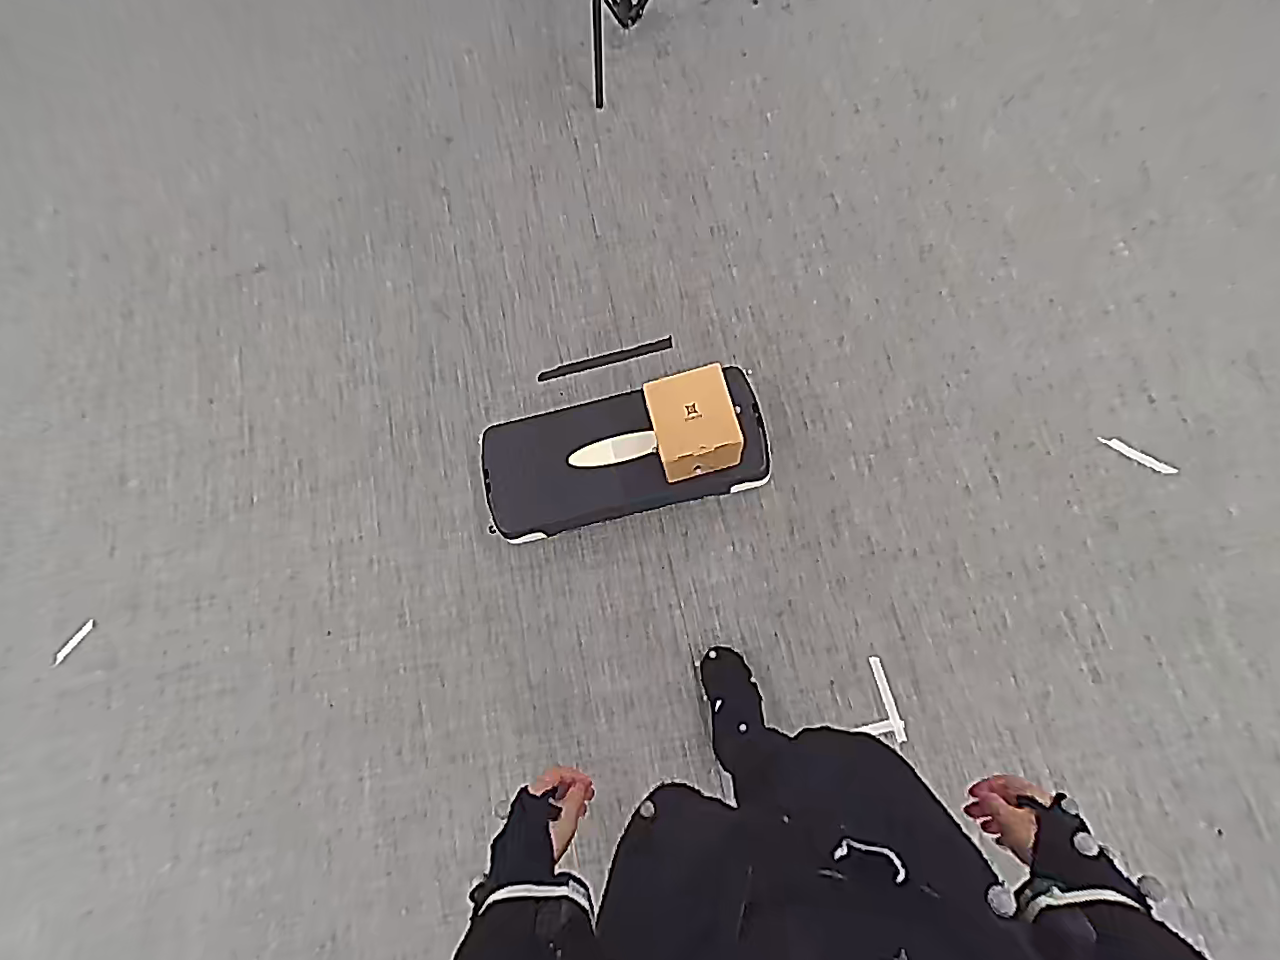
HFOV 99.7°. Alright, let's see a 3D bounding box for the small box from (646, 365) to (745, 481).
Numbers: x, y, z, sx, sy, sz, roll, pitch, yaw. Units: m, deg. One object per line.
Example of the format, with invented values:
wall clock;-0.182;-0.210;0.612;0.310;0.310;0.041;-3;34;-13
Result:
small box;0.114;-0.115;1.155;0.168;0.176;0.179;-15;76;2
